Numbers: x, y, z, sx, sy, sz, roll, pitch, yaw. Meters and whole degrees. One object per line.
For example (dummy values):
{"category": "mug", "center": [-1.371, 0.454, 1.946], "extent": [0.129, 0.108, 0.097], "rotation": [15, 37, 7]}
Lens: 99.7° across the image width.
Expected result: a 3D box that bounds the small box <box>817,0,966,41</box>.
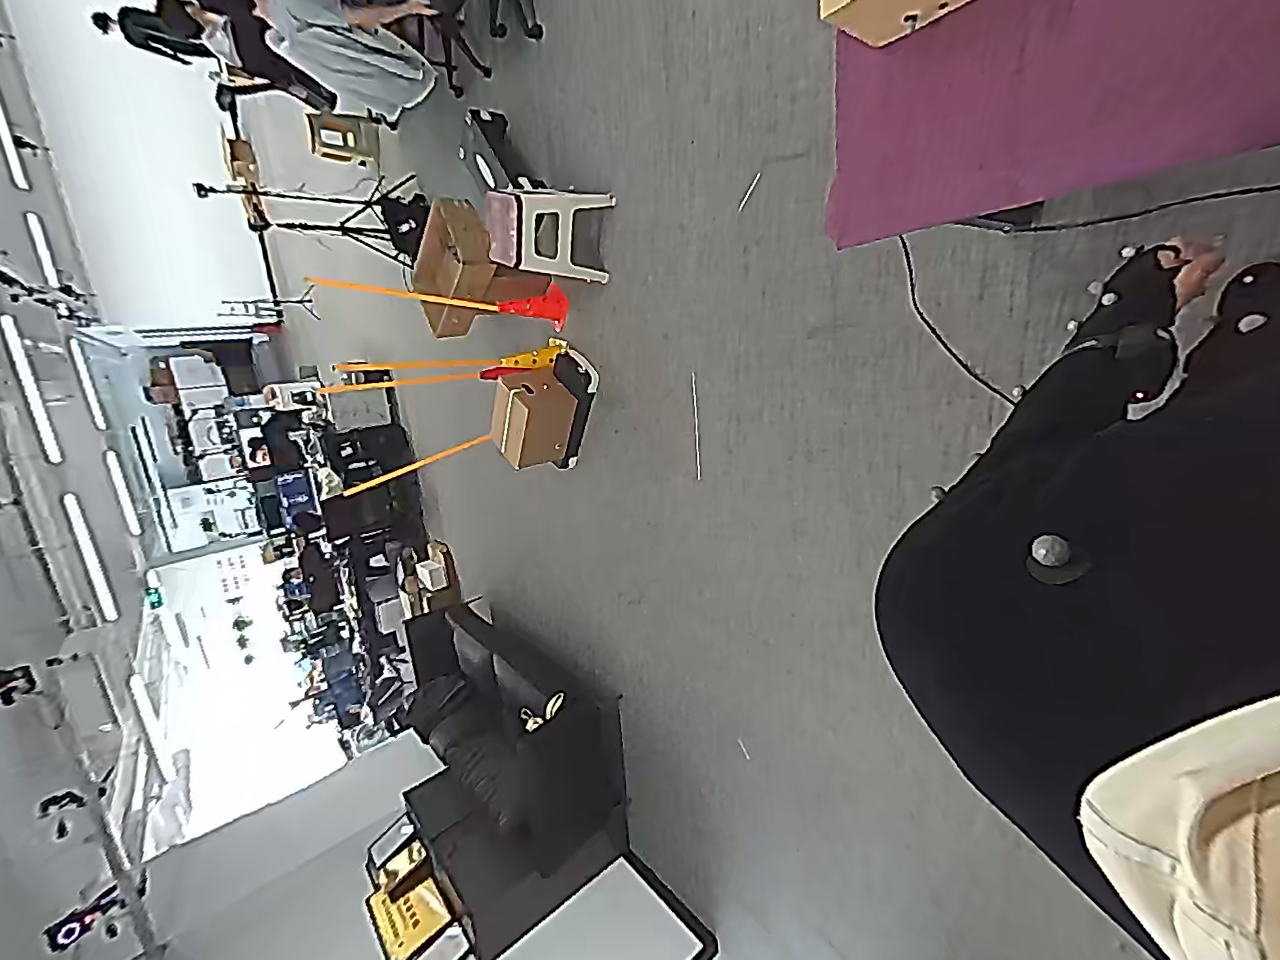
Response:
{"category": "small box", "center": [0.350, -0.734, 0.713], "extent": [0.168, 0.176, 0.179], "rotation": [9, 111, 50]}
